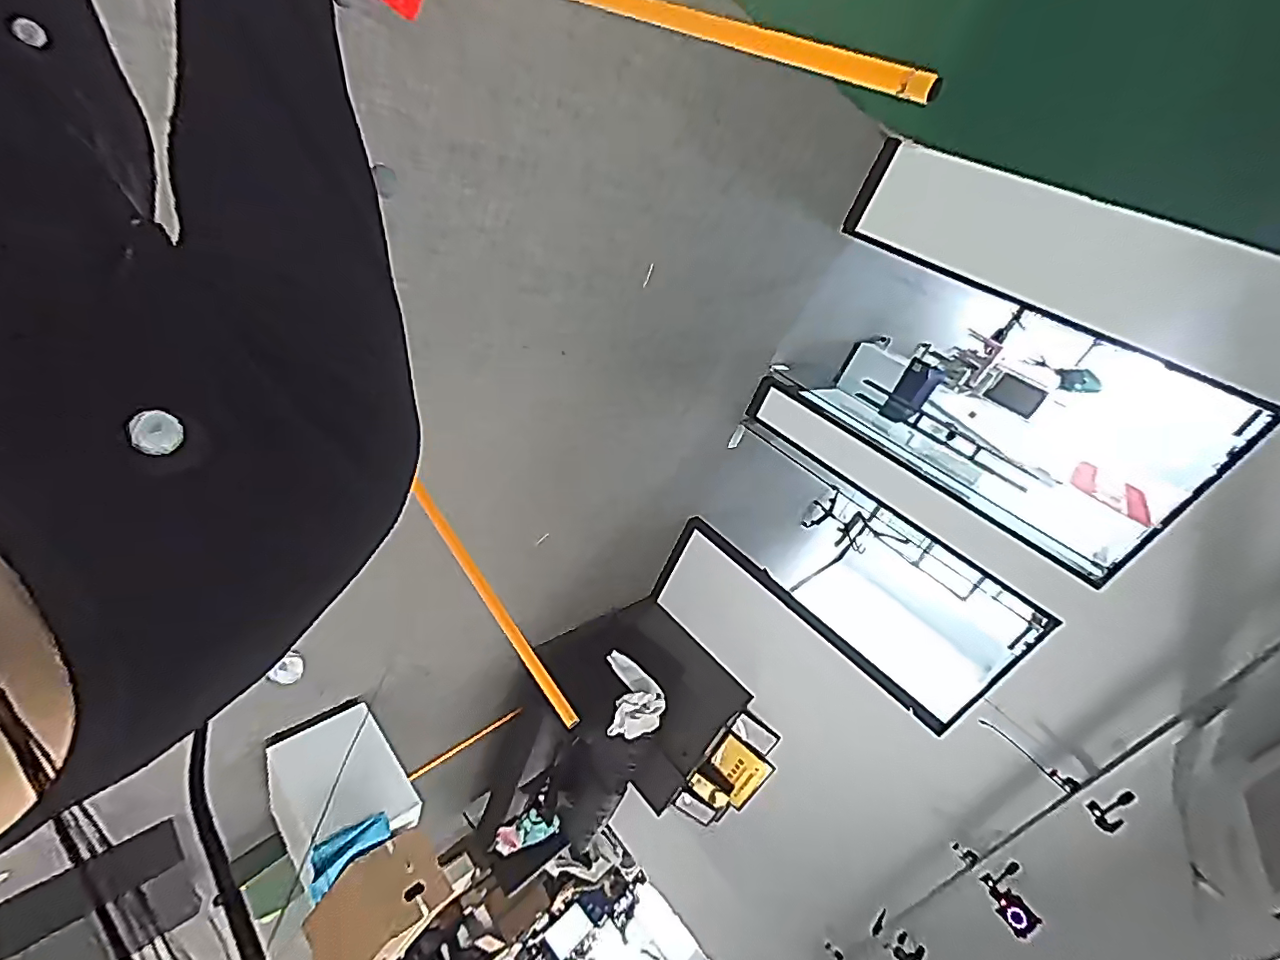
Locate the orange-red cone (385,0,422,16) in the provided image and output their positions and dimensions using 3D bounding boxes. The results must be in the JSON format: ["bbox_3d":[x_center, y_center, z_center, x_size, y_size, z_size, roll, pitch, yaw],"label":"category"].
[{"bbox_3d":[-0.396,-0.991,1.003,0.198,0.360,0.199,3,124,-55],"label":"orange-red cone"}]
